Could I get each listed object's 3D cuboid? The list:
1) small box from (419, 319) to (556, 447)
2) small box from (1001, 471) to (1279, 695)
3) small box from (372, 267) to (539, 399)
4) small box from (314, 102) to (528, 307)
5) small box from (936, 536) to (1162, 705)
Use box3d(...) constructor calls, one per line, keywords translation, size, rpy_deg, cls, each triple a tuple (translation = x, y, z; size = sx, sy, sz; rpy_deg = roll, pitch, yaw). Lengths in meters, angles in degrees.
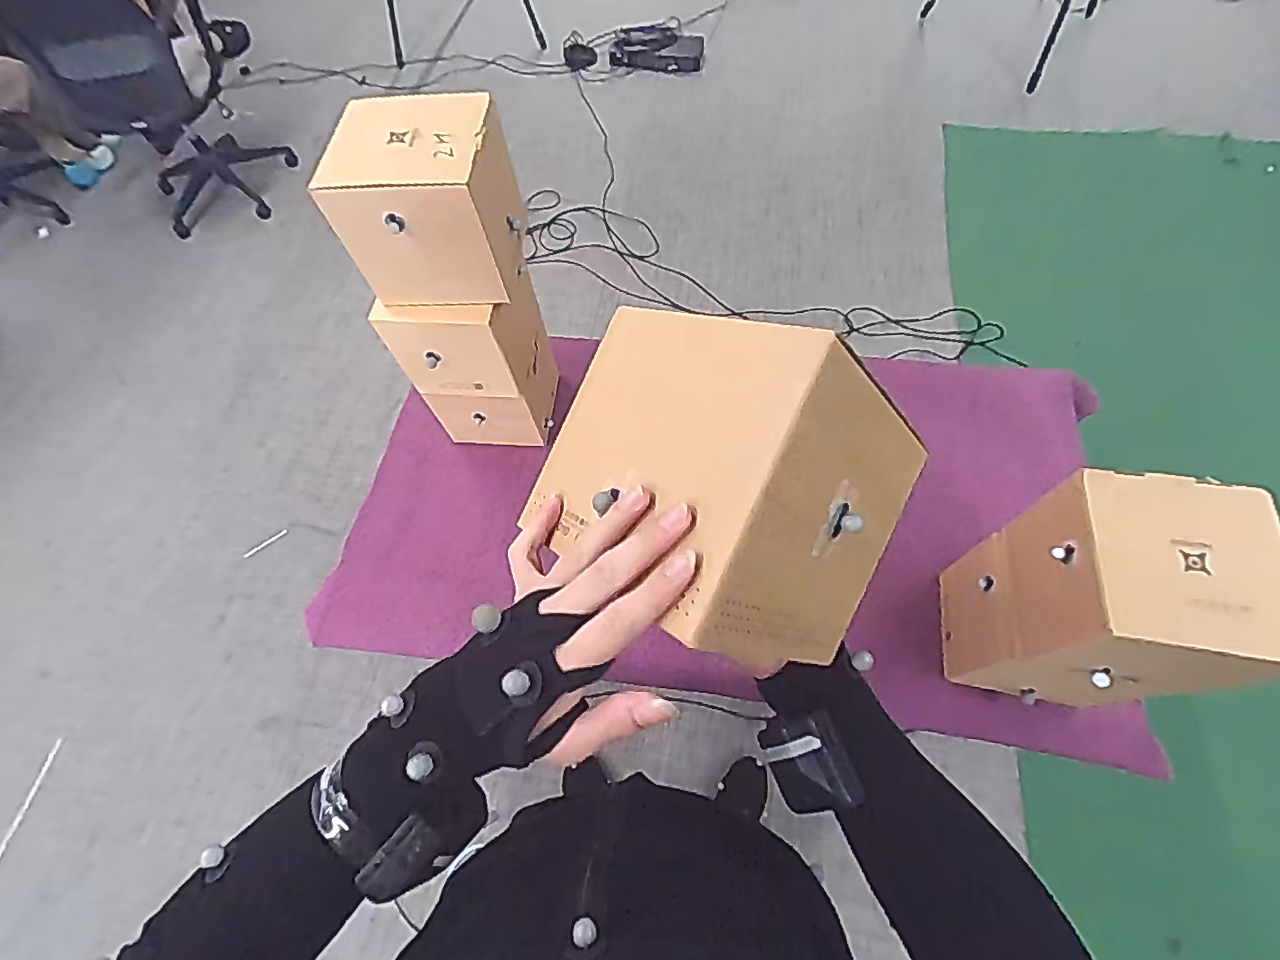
box3d(translation=(-0.255, -0.169, 0.957), size=(0.179, 0.176, 0.168), rpy_deg=(3, 63, 5), cls="small box")
box3d(translation=(0.517, 0.115, 0.579), size=(0.168, 0.176, 0.179), rpy_deg=(8, 63, 10), cls="small box")
box3d(translation=(-0.259, -0.237, 0.810), size=(0.168, 0.176, 0.179), rpy_deg=(3, 63, 5), cls="small box")
box3d(translation=(-0.253, -0.334, 0.674), size=(0.179, 0.176, 0.168), rpy_deg=(1, 63, 3), cls="small box")
box3d(translation=(0.523, 0.194, 0.721), size=(0.179, 0.176, 0.168), rpy_deg=(9, 62, 8), cls="small box")
